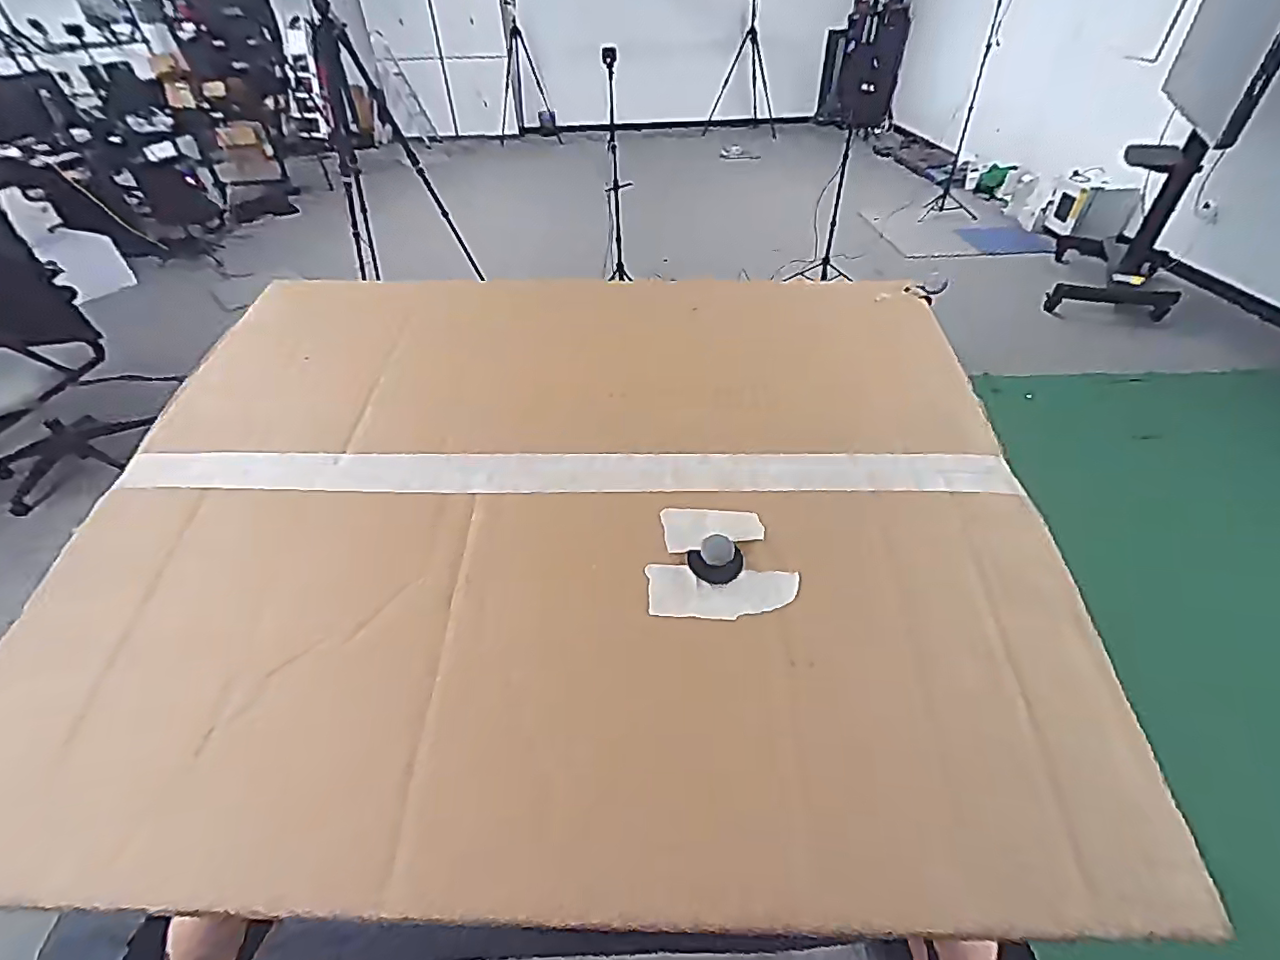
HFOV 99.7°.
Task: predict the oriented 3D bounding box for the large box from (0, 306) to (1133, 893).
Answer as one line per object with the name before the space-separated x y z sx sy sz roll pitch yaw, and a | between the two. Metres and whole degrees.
large box | -0.031 0.097 0.388 0.408 0.320 0.320 0 54 1
